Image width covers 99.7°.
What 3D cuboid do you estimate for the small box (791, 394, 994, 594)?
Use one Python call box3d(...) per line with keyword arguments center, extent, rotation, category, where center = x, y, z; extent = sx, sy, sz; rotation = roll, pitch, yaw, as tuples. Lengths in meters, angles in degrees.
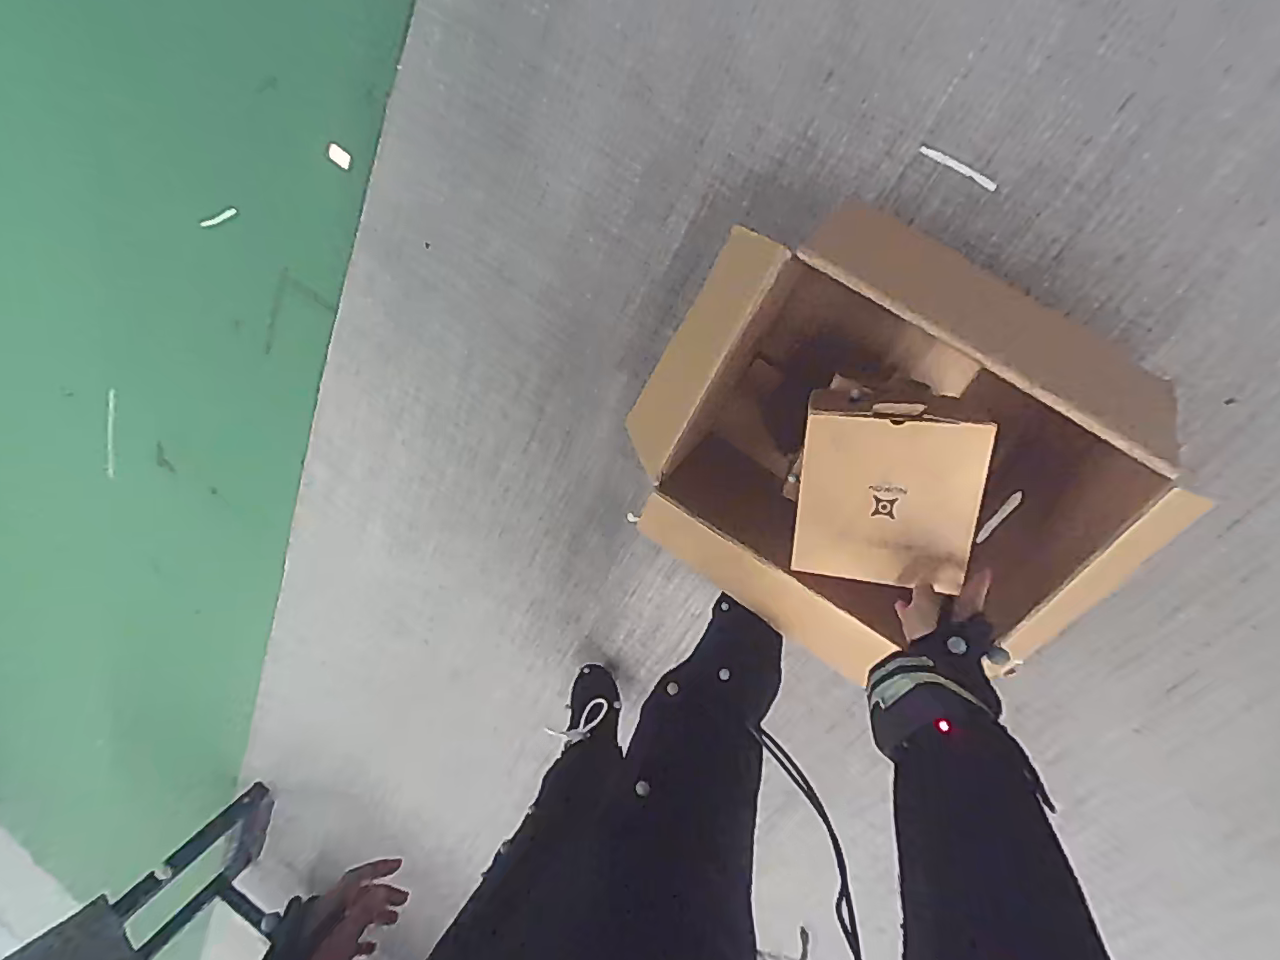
box3d(center=(0.268, 0.001, 0.613), extent=(0.168, 0.176, 0.179), rotation=(7, 109, 17), category="small box")
